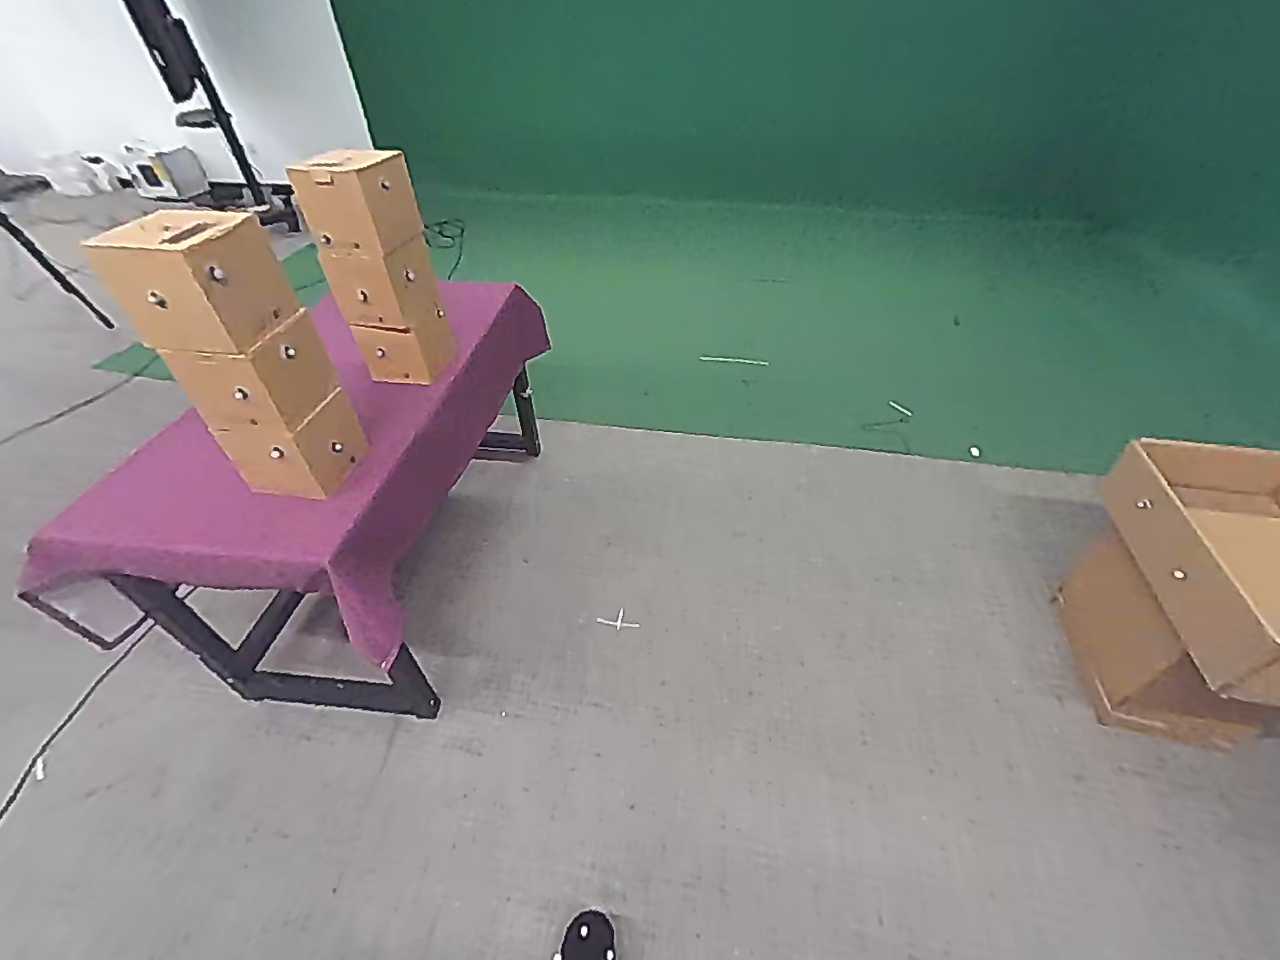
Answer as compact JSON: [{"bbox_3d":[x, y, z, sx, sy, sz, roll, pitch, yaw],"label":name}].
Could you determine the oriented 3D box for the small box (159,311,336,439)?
[{"bbox_3d":[-0.702,-0.193,0.997,0.168,0.176,0.179,5,43,6],"label":"small box"}]

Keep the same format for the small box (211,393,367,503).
[{"bbox_3d":[-0.698,-0.069,1.103,0.179,0.176,0.168,5,43,8],"label":"small box"}]

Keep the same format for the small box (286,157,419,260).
[{"bbox_3d":[-0.615,-0.597,1.188,0.168,0.176,0.179,7,42,10],"label":"small box"}]

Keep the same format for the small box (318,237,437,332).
[{"bbox_3d":[-0.613,-0.470,1.293,0.168,0.176,0.179,7,44,10],"label":"small box"}]

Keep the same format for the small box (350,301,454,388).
[{"bbox_3d":[-0.608,-0.354,1.410,0.168,0.176,0.179,5,43,7],"label":"small box"}]
